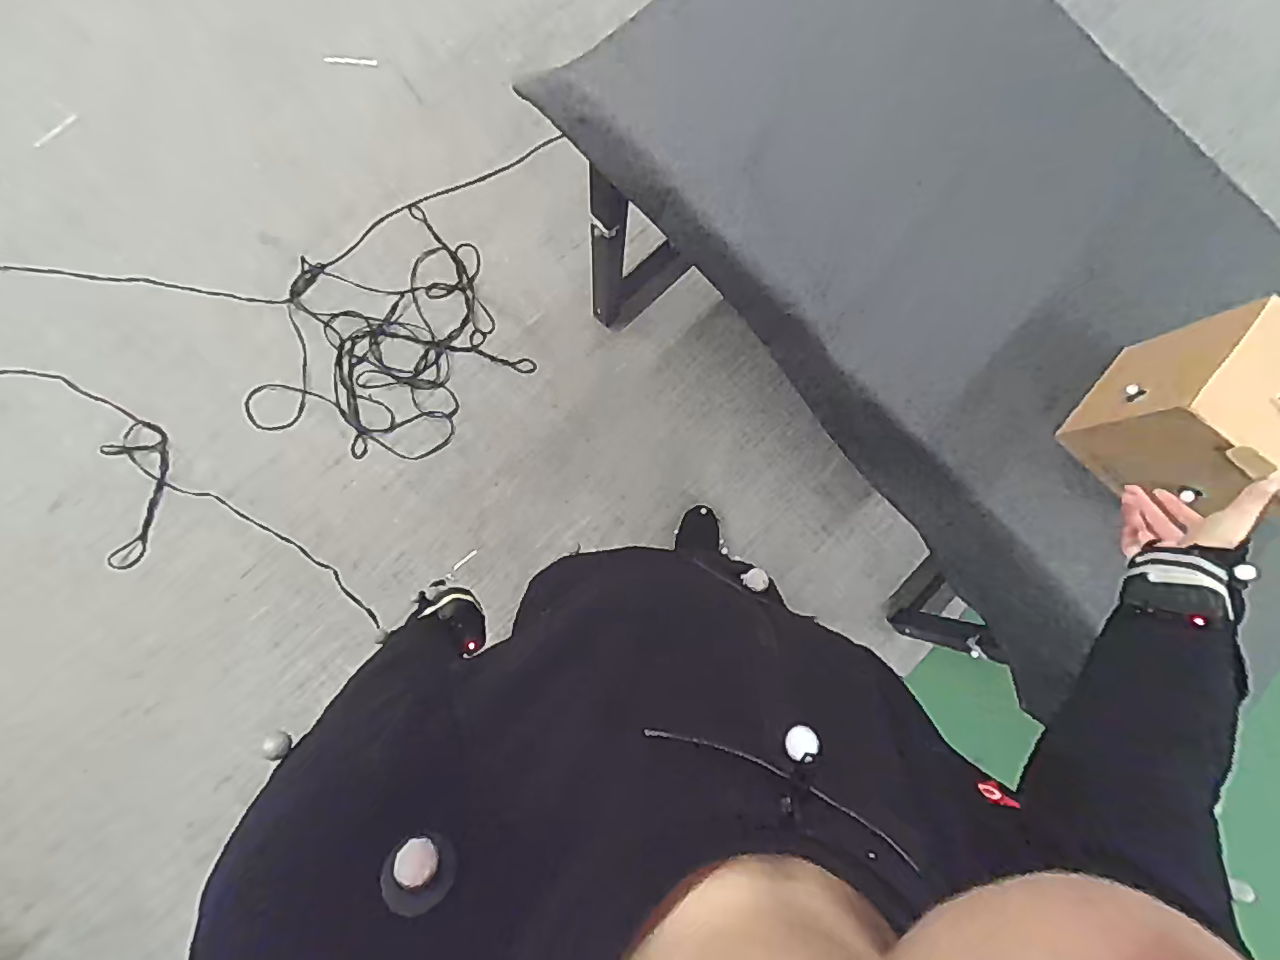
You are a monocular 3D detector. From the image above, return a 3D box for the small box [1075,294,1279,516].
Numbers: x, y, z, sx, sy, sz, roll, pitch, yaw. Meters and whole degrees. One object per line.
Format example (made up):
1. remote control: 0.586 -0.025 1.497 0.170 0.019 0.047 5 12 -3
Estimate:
1. small box: 0.670 -0.071 0.633 0.168 0.176 0.179 43 81 0
